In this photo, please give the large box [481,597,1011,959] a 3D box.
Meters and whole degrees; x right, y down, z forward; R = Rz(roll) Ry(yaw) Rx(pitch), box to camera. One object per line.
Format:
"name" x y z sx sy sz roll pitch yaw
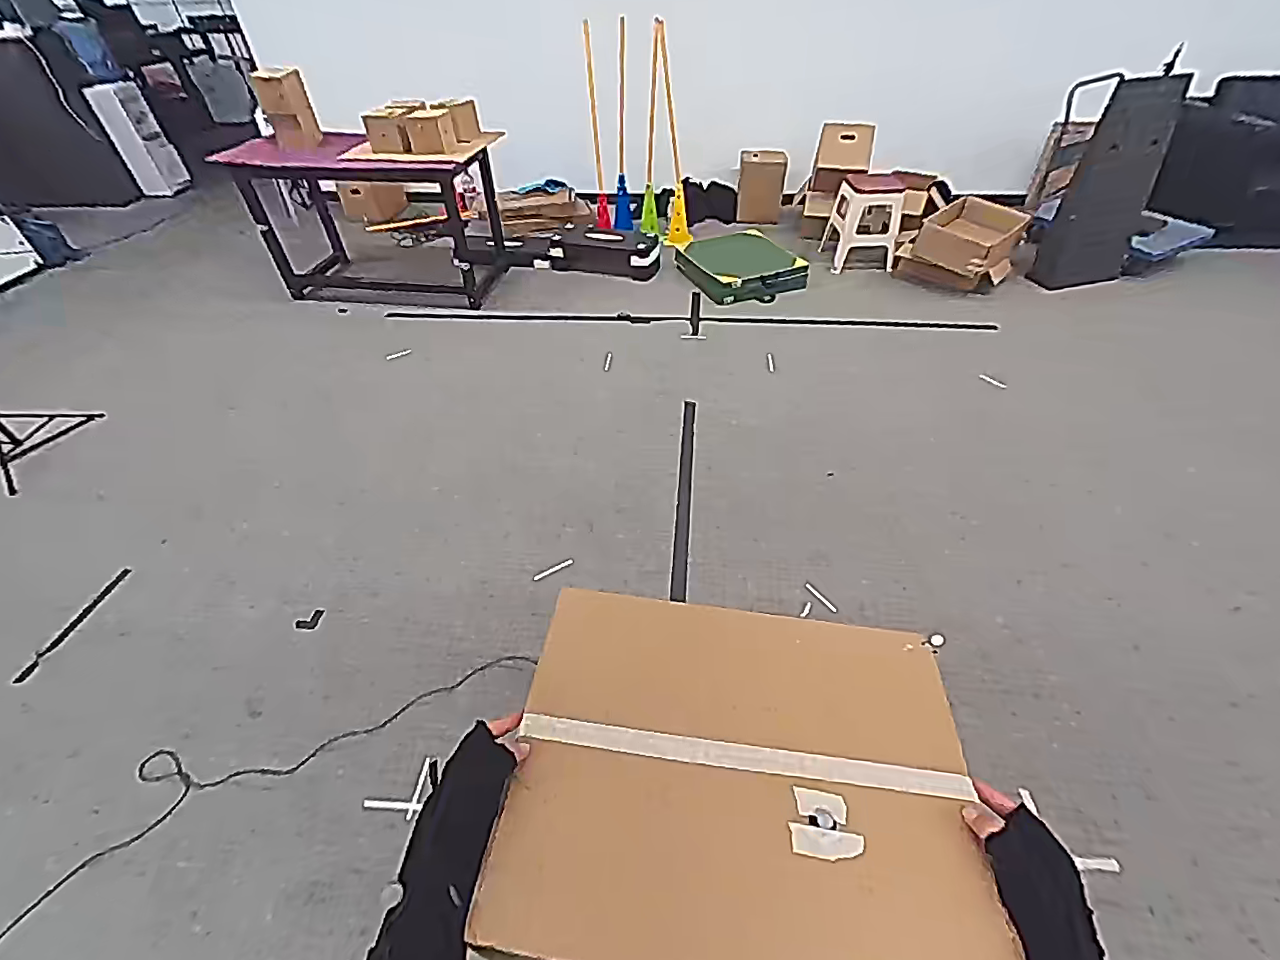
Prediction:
"large box" 0.085 0.365 0.599 0.408 0.320 0.320 7 44 4
